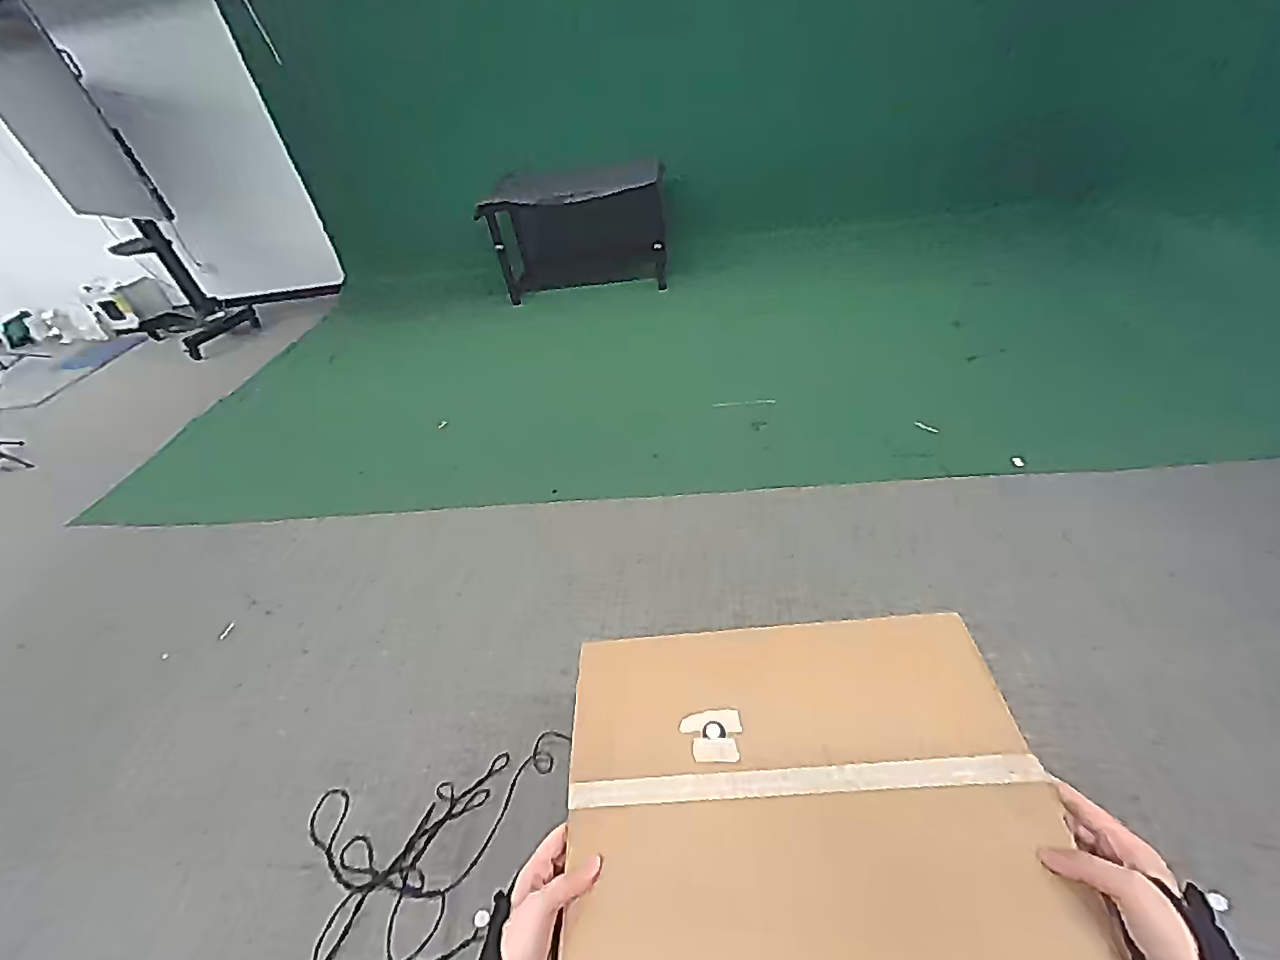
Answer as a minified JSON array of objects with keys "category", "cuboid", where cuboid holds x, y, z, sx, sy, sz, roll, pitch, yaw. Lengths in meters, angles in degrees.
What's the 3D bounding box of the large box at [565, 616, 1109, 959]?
[{"category":"large box","cuboid":[0.160,0.384,0.591,0.408,0.320,0.320,-8,43,7]}]
